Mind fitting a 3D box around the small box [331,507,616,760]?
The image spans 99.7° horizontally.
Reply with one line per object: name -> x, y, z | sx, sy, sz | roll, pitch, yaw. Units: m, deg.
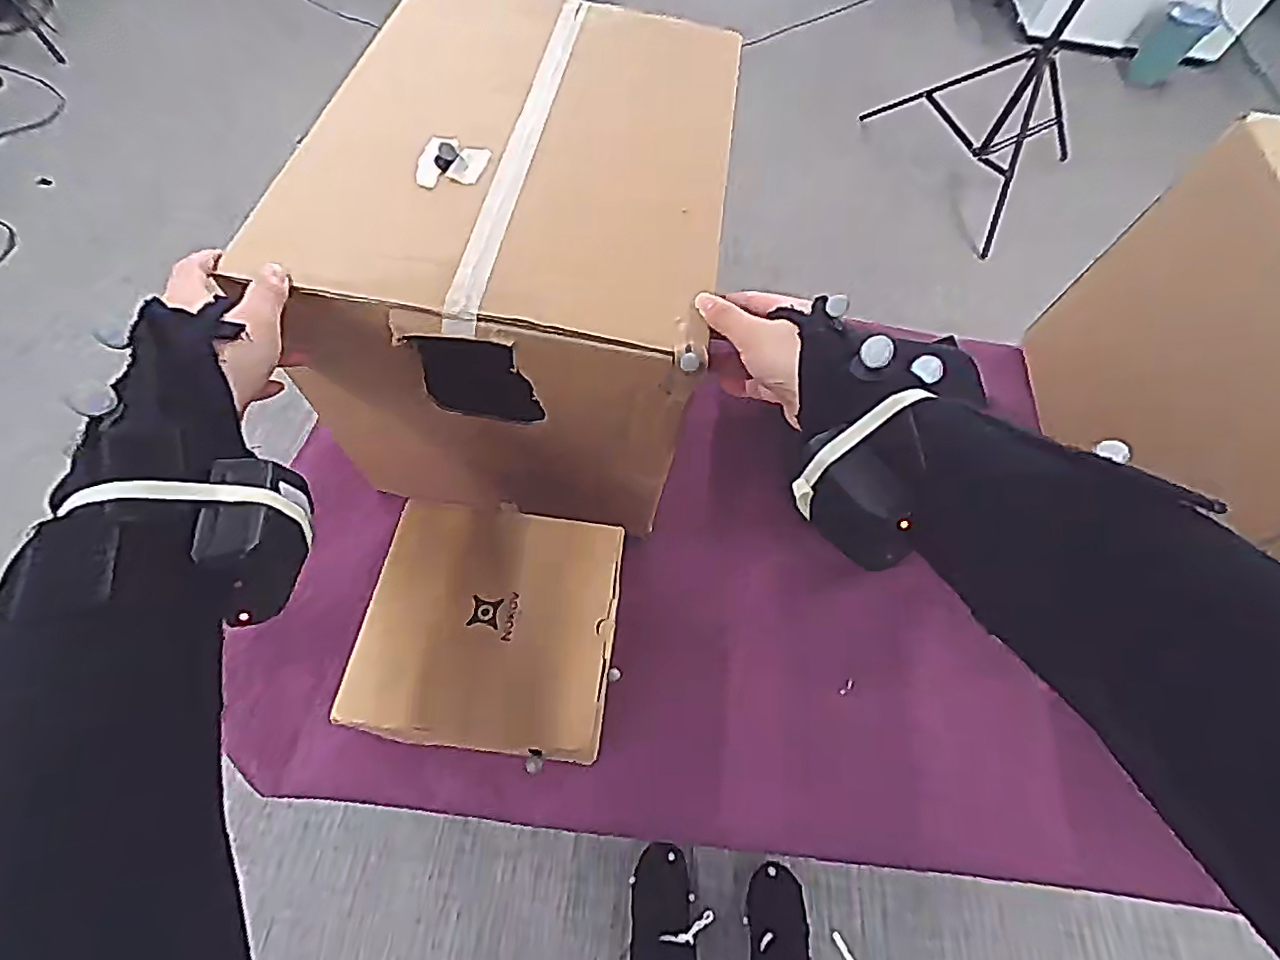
small box -> -0.120, 0.141, 0.470 | 0.179, 0.176, 0.168 | 8, 60, -2

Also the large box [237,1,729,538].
large box -> -0.102, -0.194, 0.570 | 0.320, 0.320, 0.408 | 9, 64, -1
